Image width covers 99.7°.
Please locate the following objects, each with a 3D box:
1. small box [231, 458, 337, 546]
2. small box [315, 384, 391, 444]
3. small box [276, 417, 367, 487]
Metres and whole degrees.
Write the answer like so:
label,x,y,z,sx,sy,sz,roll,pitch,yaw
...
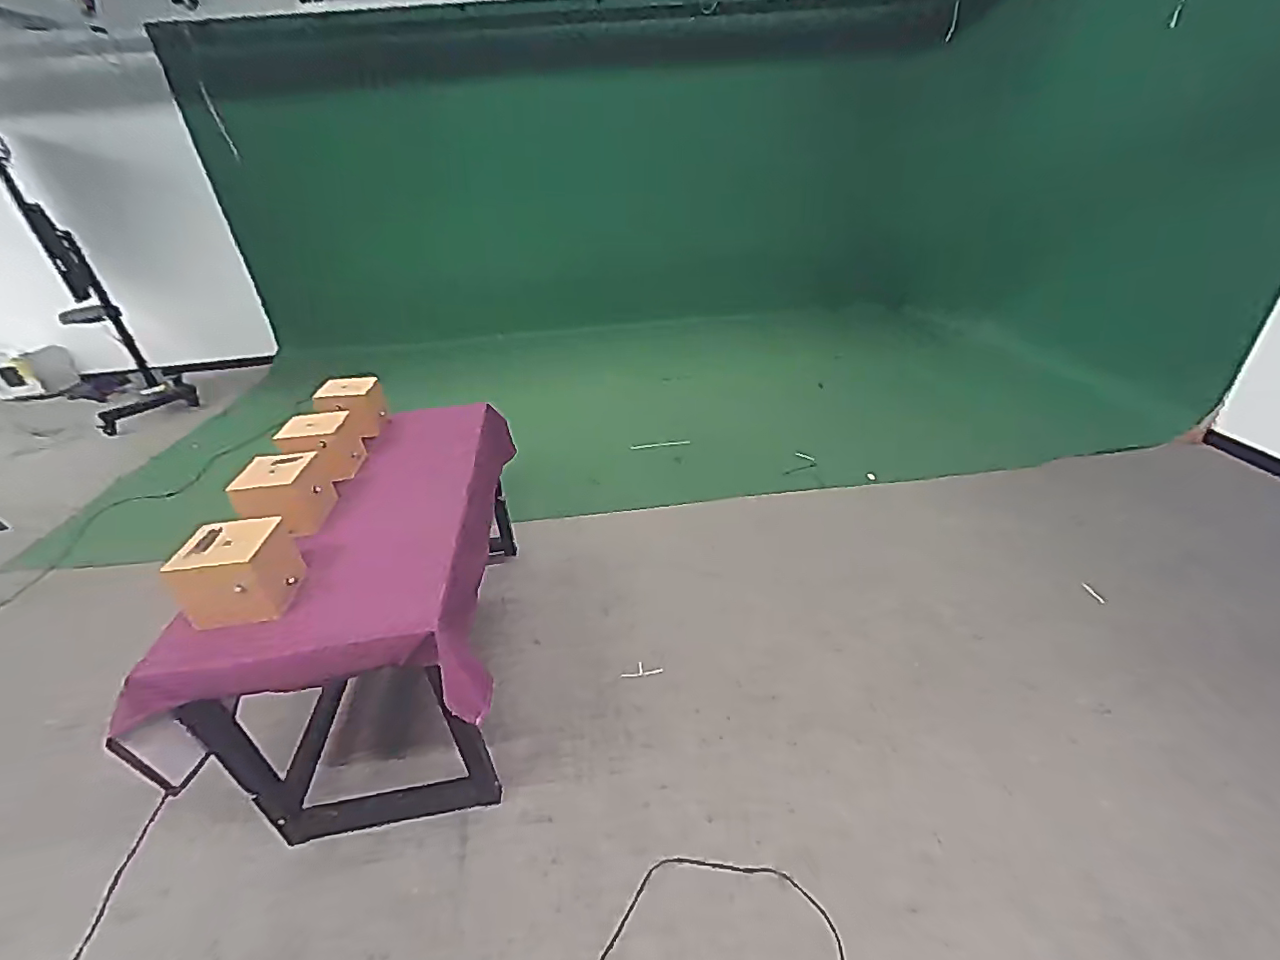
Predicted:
label,x,y,z,sx,sy,sz,roll,pitch,yaw
small box,-0.961,0.058,1.482,0.168,0.176,0.179,-7,32,-4
small box,-1.036,-0.237,1.966,0.179,0.176,0.168,-4,32,-5
small box,-1.004,-0.083,1.722,0.179,0.176,0.168,-7,32,-6
